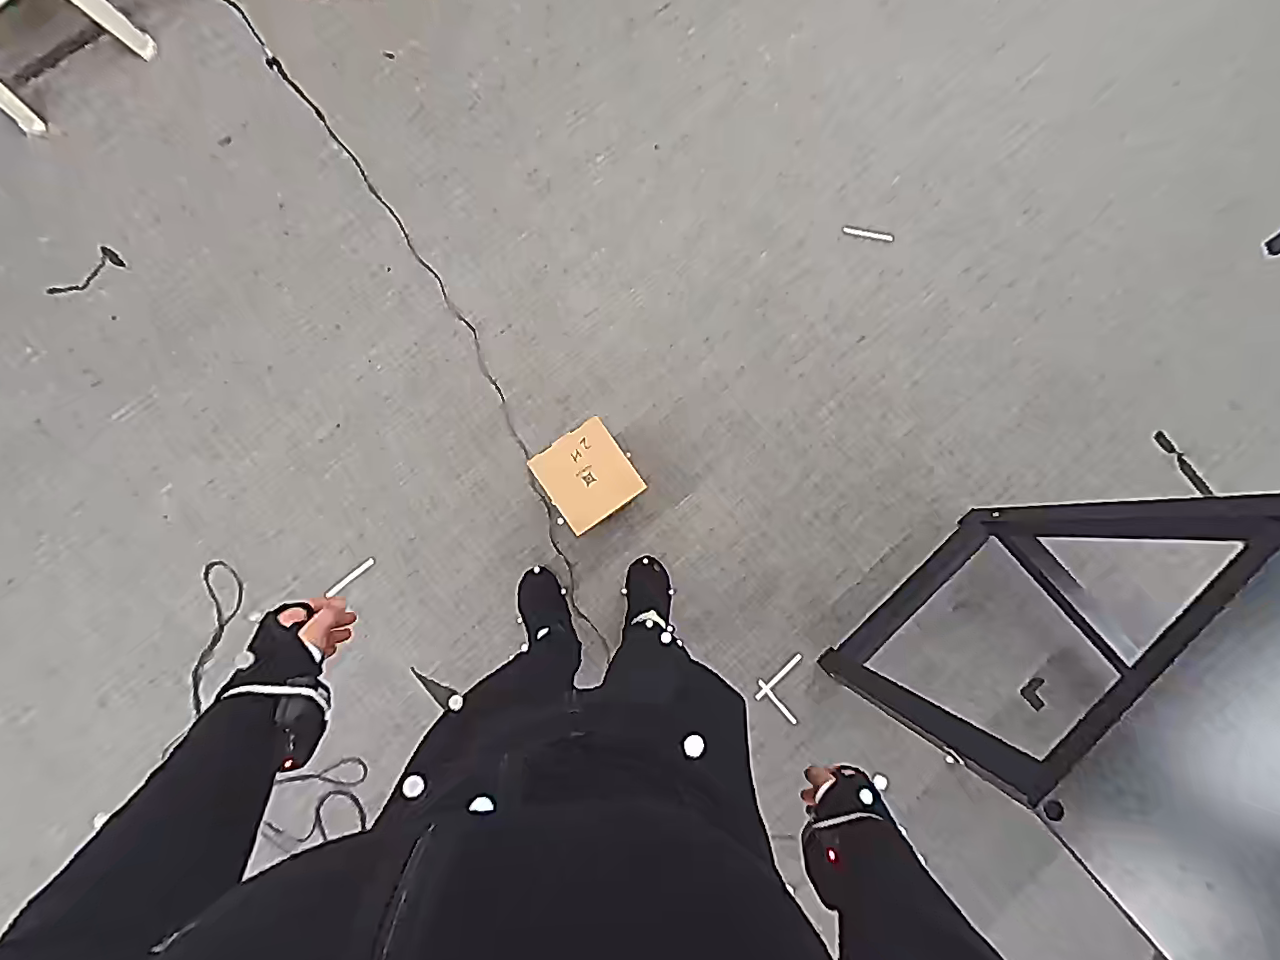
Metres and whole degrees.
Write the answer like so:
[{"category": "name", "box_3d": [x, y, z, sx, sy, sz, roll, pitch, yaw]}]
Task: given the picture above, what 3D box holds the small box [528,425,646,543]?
[{"category": "small box", "box_3d": [-0.106, 0.013, 1.120, 0.168, 0.176, 0.179, -35, 87, -8]}]
